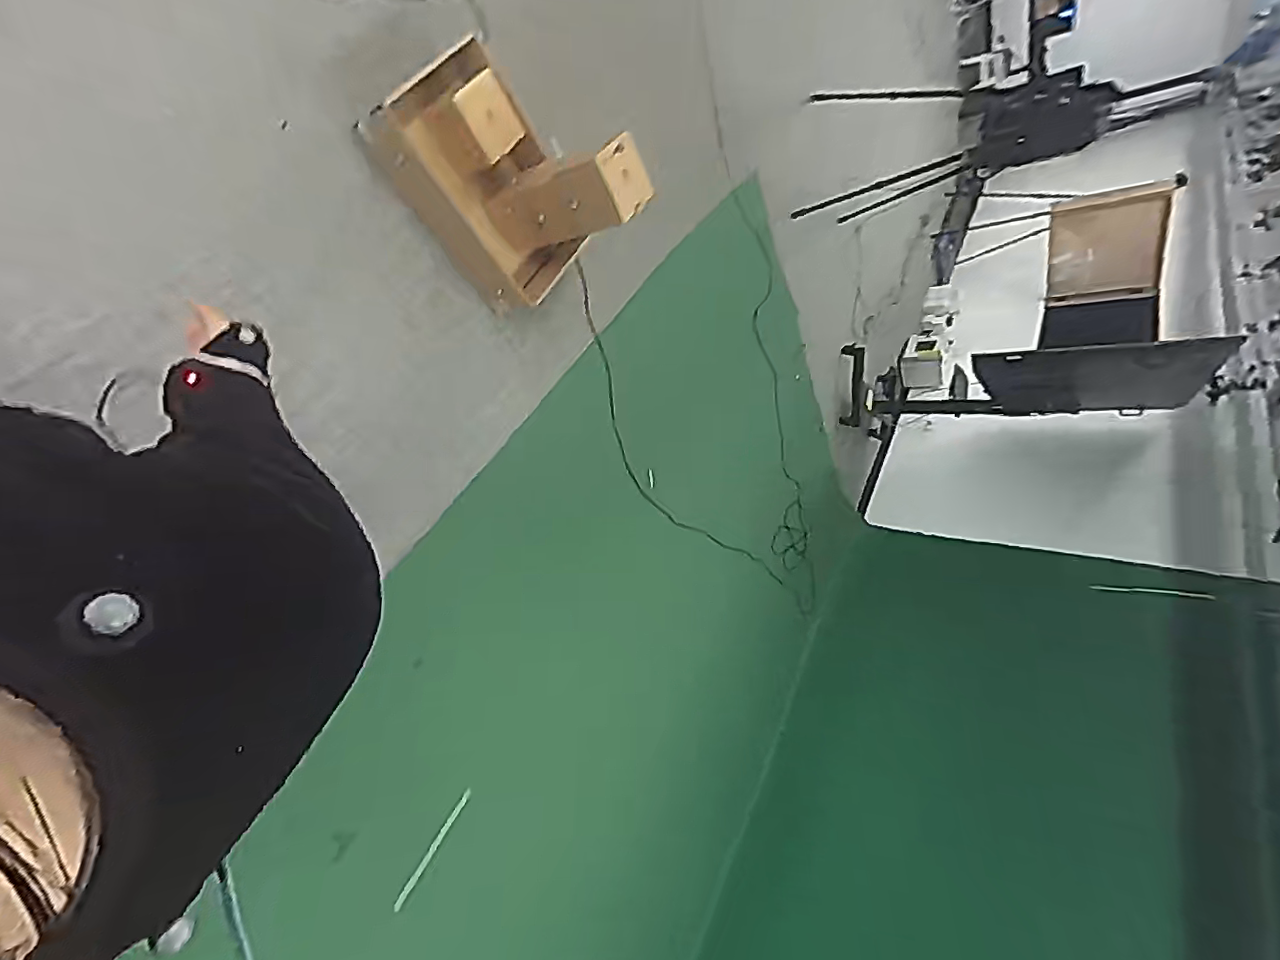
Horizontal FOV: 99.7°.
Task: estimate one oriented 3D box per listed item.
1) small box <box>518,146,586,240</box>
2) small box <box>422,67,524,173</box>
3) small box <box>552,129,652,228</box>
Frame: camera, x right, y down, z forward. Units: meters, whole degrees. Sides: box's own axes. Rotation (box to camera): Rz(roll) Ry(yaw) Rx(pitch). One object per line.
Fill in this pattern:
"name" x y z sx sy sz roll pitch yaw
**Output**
"small box" -0.222 -0.835 1.584 0.179 0.176 0.168 -59 135 -26
"small box" -0.469 -1.002 1.517 0.168 0.176 0.179 -60 138 -24
"small box" -0.102 -0.809 1.472 0.168 0.176 0.179 -56 134 -29
